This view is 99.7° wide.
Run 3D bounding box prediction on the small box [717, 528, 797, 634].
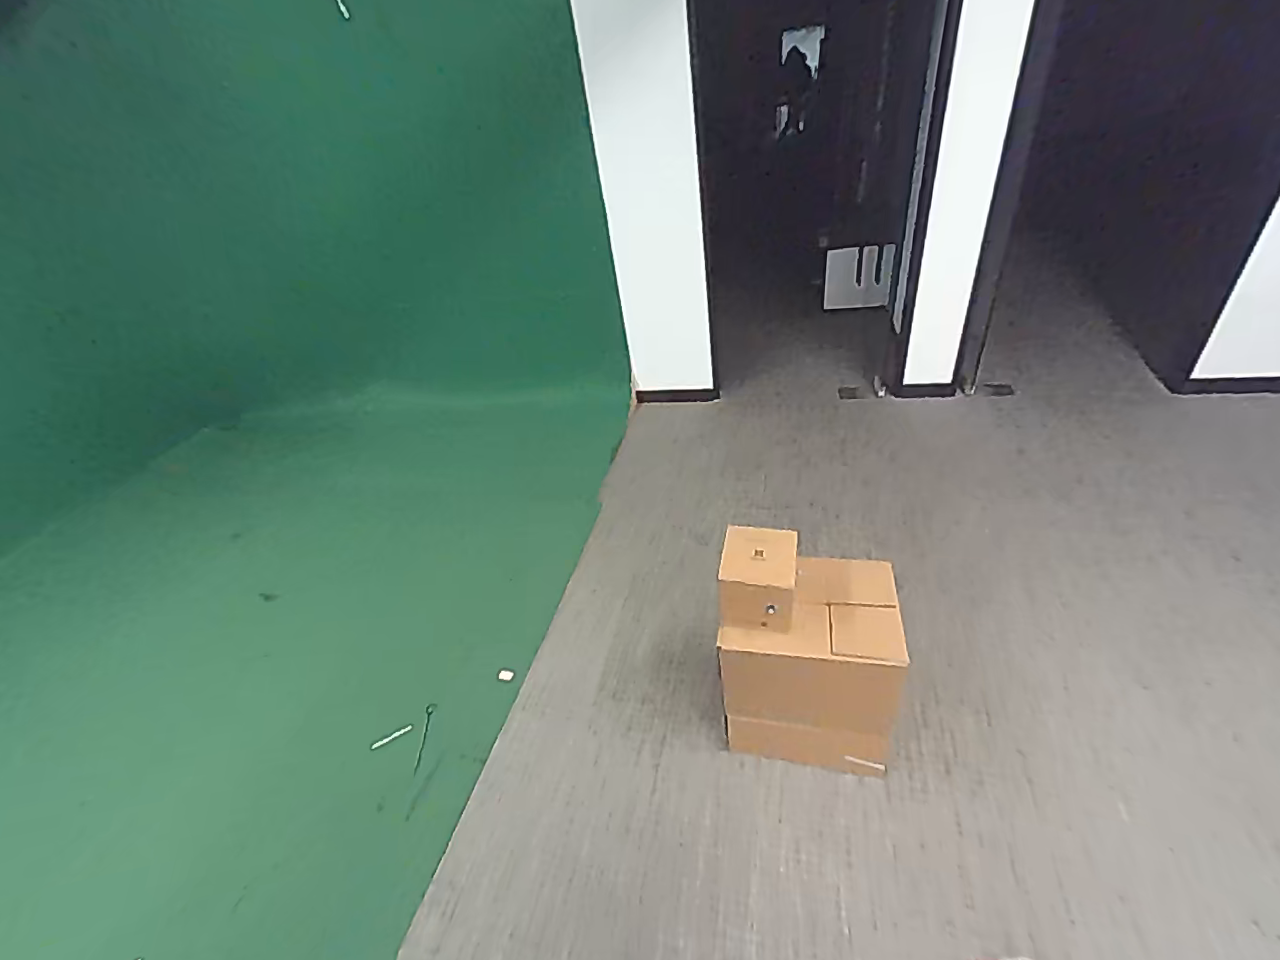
[{"bbox_3d":[0.278,0.238,1.274,0.168,0.176,0.179,4,39,15],"label":"small box"}]
